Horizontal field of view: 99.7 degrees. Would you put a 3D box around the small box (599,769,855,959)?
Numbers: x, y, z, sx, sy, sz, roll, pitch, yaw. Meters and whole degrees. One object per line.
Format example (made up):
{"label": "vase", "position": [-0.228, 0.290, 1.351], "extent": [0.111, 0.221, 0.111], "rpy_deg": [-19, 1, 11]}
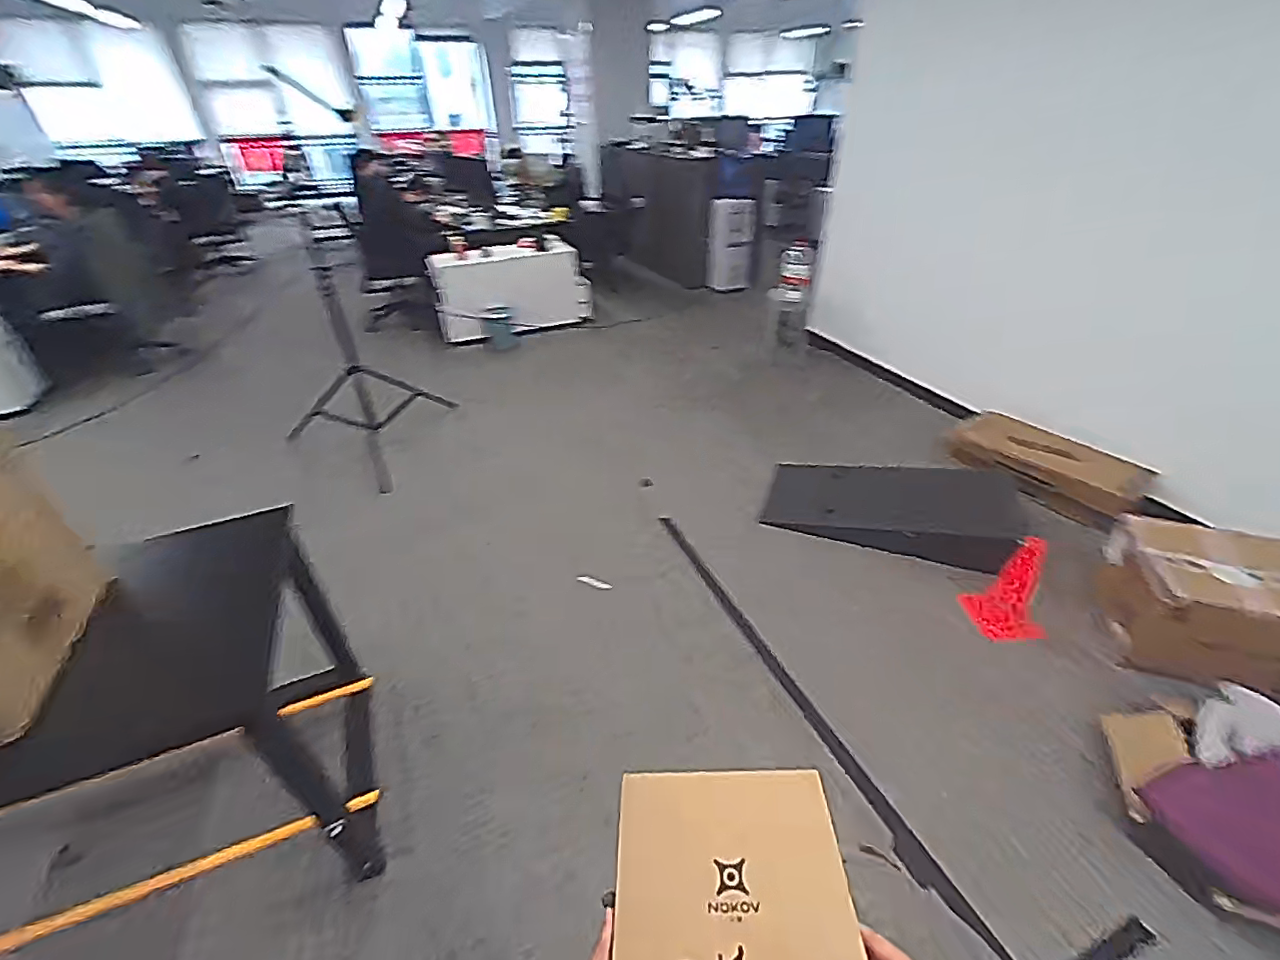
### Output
{"label": "small box", "position": [0.062, 0.356, 0.417], "extent": [0.168, 0.176, 0.179], "rpy_deg": [-4, 31, 3]}
